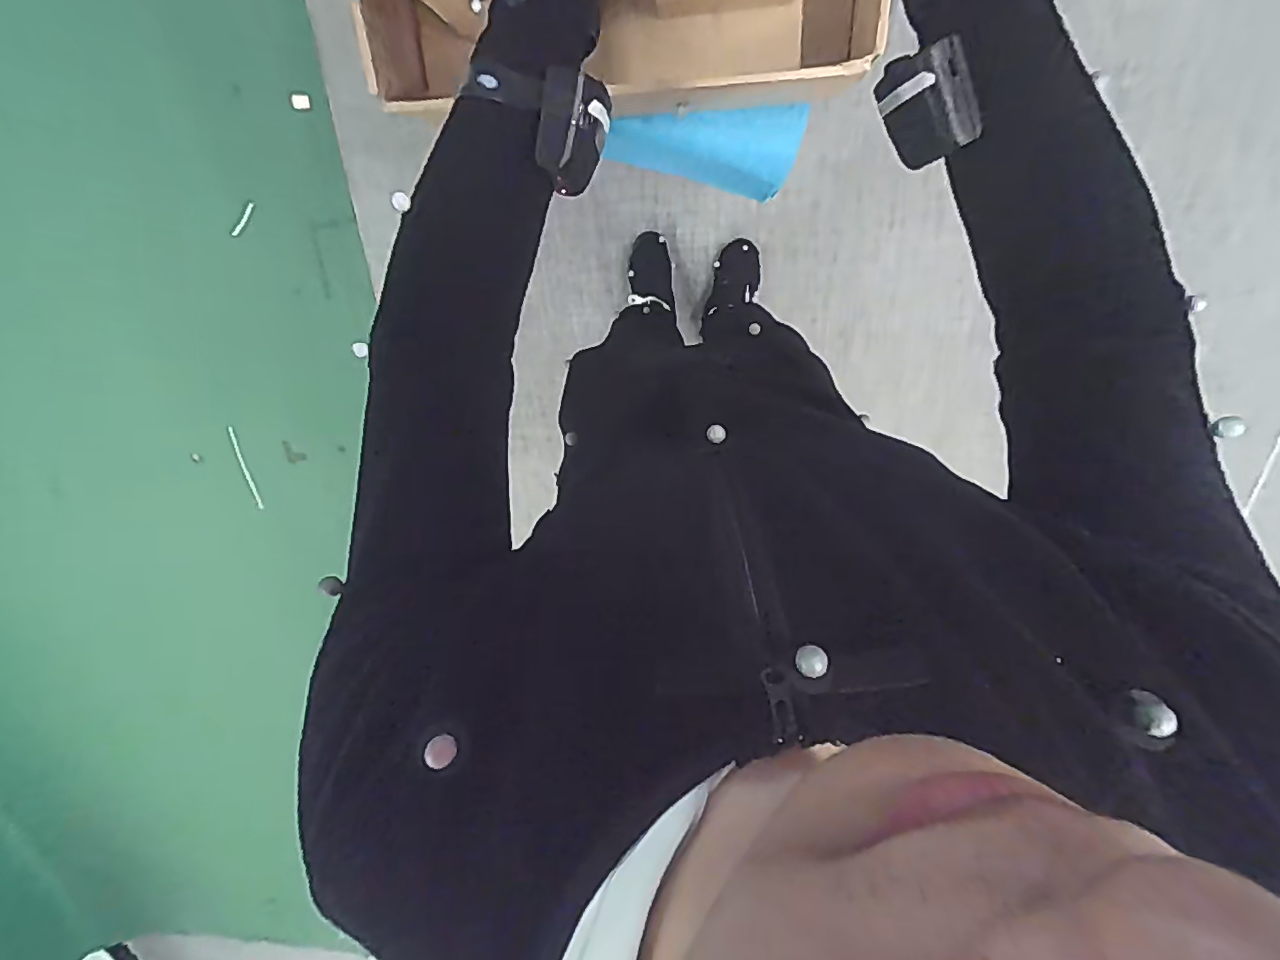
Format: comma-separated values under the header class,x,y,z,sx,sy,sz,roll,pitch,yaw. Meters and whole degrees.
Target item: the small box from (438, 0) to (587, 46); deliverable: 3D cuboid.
class,x,y,z,sx,sy,sz,roll,pitch,yaw
small box,-0.162,-0.651,0.636,0.168,0.176,0.179,0,113,7
